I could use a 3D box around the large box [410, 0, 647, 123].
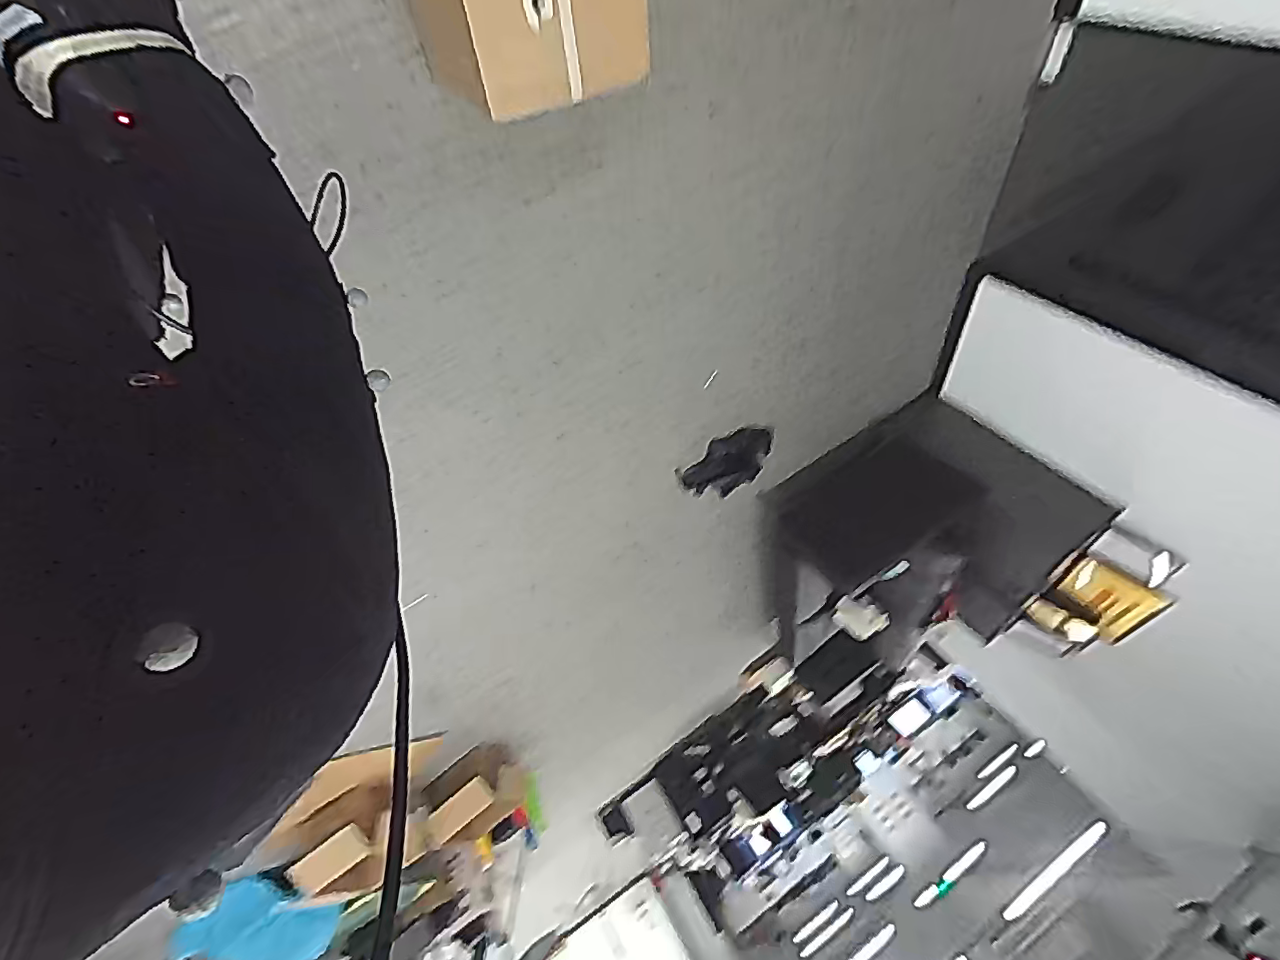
[{"bbox_3d":[-0.210,-0.875,0.865,0.320,0.320,0.408,-28,144,-17],"label":"large box"}]
